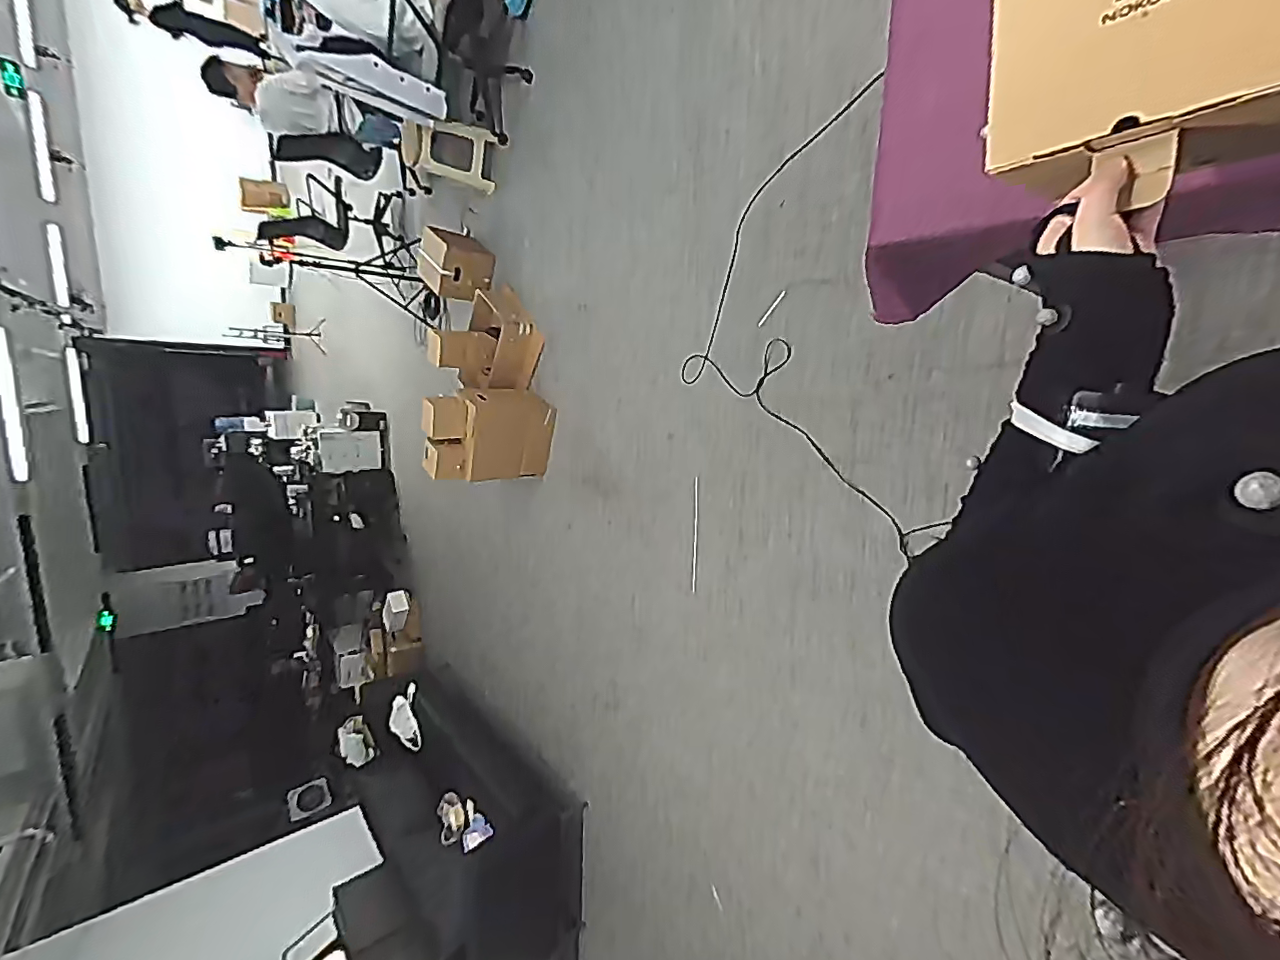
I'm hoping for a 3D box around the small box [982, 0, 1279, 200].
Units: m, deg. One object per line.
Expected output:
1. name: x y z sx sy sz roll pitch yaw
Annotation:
1. small box: 0.383 -0.334 0.406 0.168 0.176 0.179 10 109 50
